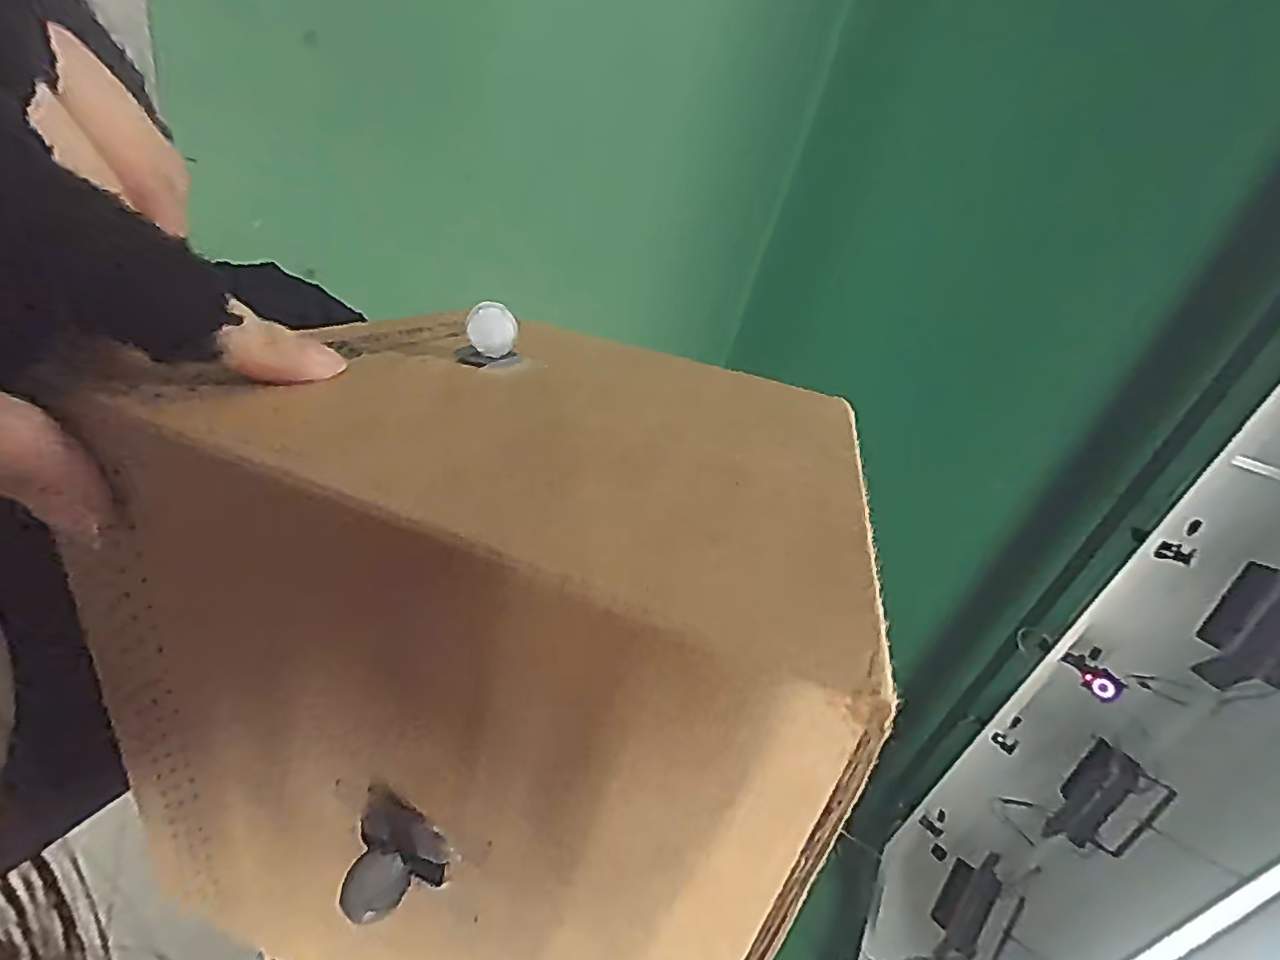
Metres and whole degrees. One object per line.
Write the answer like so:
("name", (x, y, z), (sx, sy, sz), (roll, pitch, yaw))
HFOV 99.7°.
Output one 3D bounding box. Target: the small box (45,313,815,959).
("small box", (-0.046, 0.049, 0.202), (0.168, 0.176, 0.179), (-50, 154, -63))
